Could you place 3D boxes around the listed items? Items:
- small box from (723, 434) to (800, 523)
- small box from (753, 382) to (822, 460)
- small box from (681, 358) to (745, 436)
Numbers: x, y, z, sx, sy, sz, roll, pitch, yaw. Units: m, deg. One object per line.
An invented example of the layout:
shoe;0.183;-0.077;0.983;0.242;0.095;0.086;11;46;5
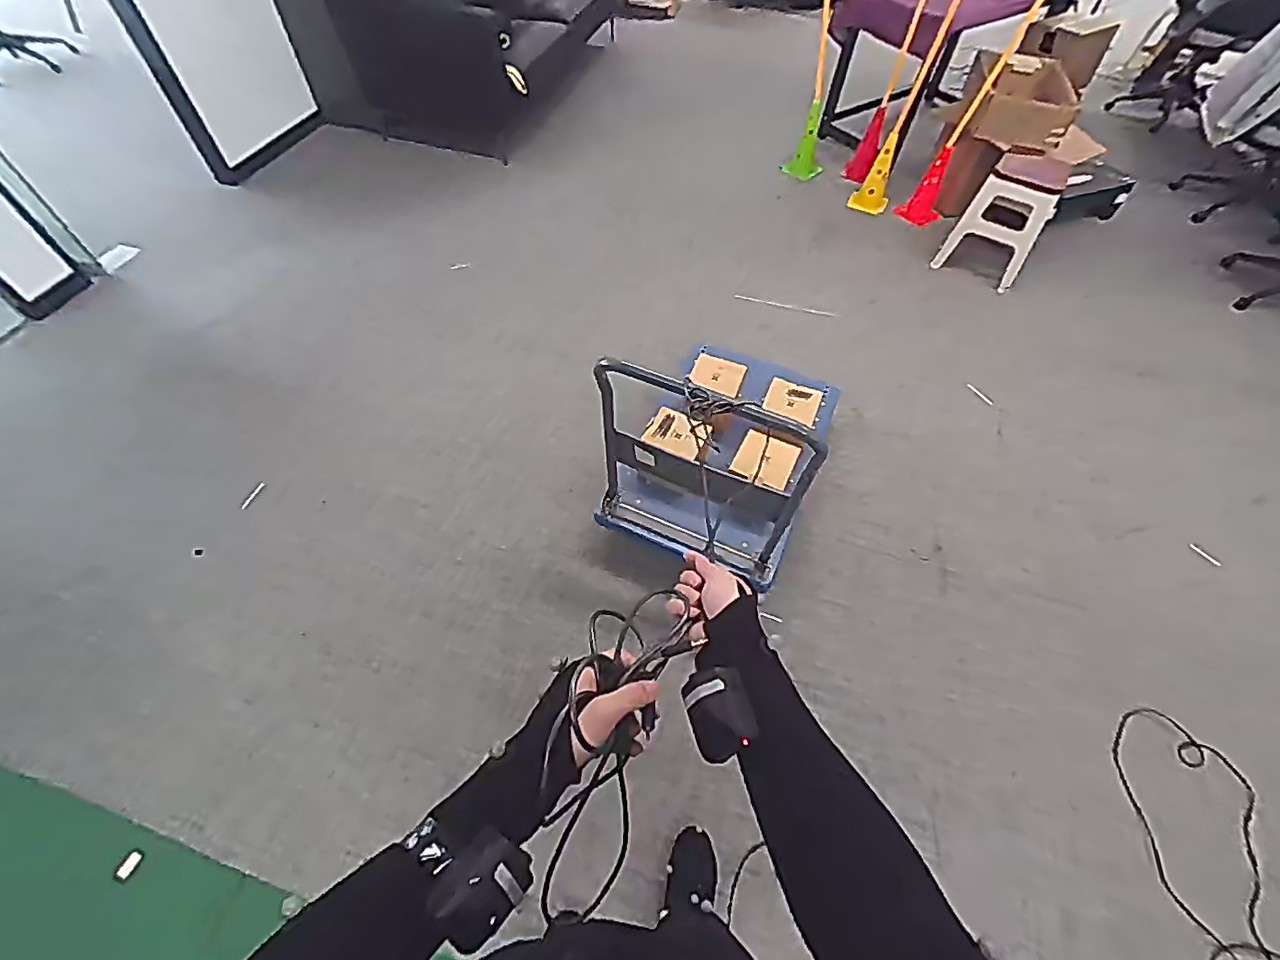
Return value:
small box;0.363;-0.002;1.644;0.168;0.176;0.179;23;59;14
small box;0.475;-0.185;1.769;0.168;0.176;0.179;20;58;13
small box;0.243;-0.276;1.828;0.168;0.176;0.179;19;57;11
